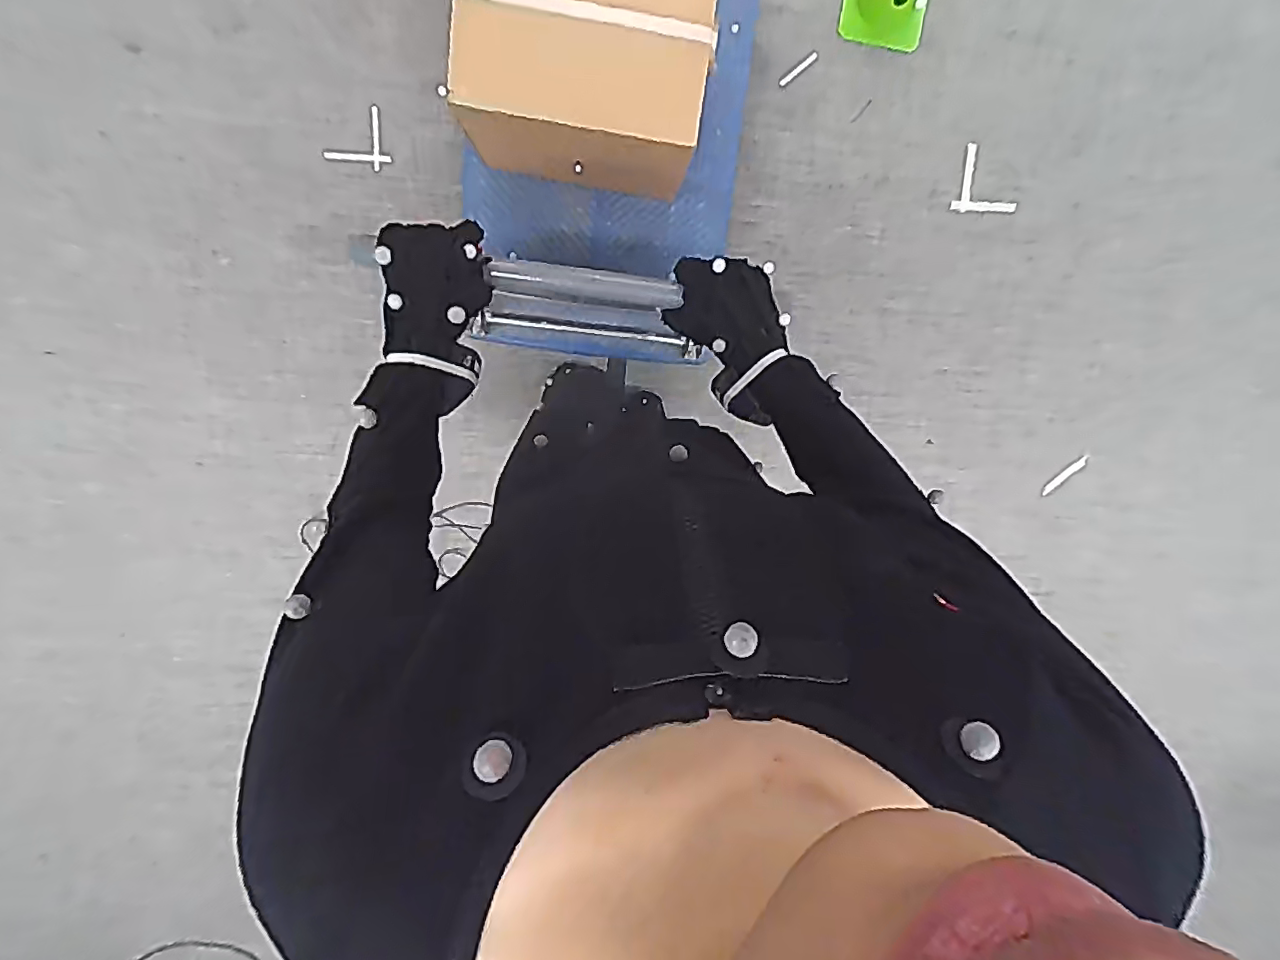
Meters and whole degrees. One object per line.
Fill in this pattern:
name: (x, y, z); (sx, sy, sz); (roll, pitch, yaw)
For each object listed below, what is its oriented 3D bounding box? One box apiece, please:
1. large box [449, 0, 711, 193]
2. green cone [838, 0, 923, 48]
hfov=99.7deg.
large box: (-0.097, -0.758, 0.996); (0.408, 0.320, 0.320); (7, 102, -4)
green cone: (0.589, -1.113, 1.110); (0.202, 0.368, 0.200); (7, 102, -6)
